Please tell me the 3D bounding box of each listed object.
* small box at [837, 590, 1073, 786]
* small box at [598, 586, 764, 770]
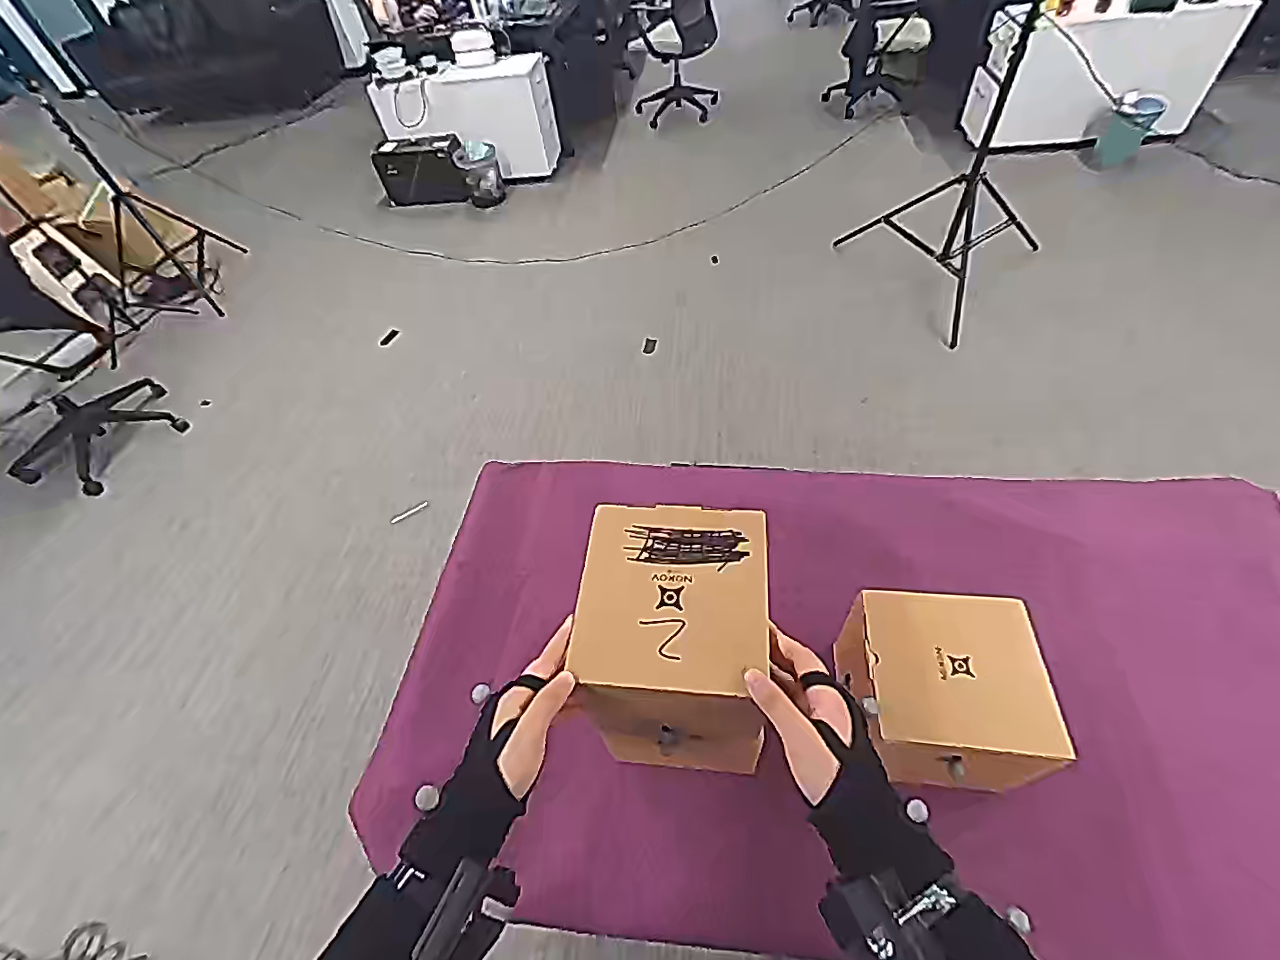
[{"bbox_3d":[0.341,0.245,0.629,0.179,0.176,0.168,1,51,9],"label":"small box"},{"bbox_3d":[0.058,0.246,0.665,0.179,0.176,0.168,1,52,8],"label":"small box"}]
